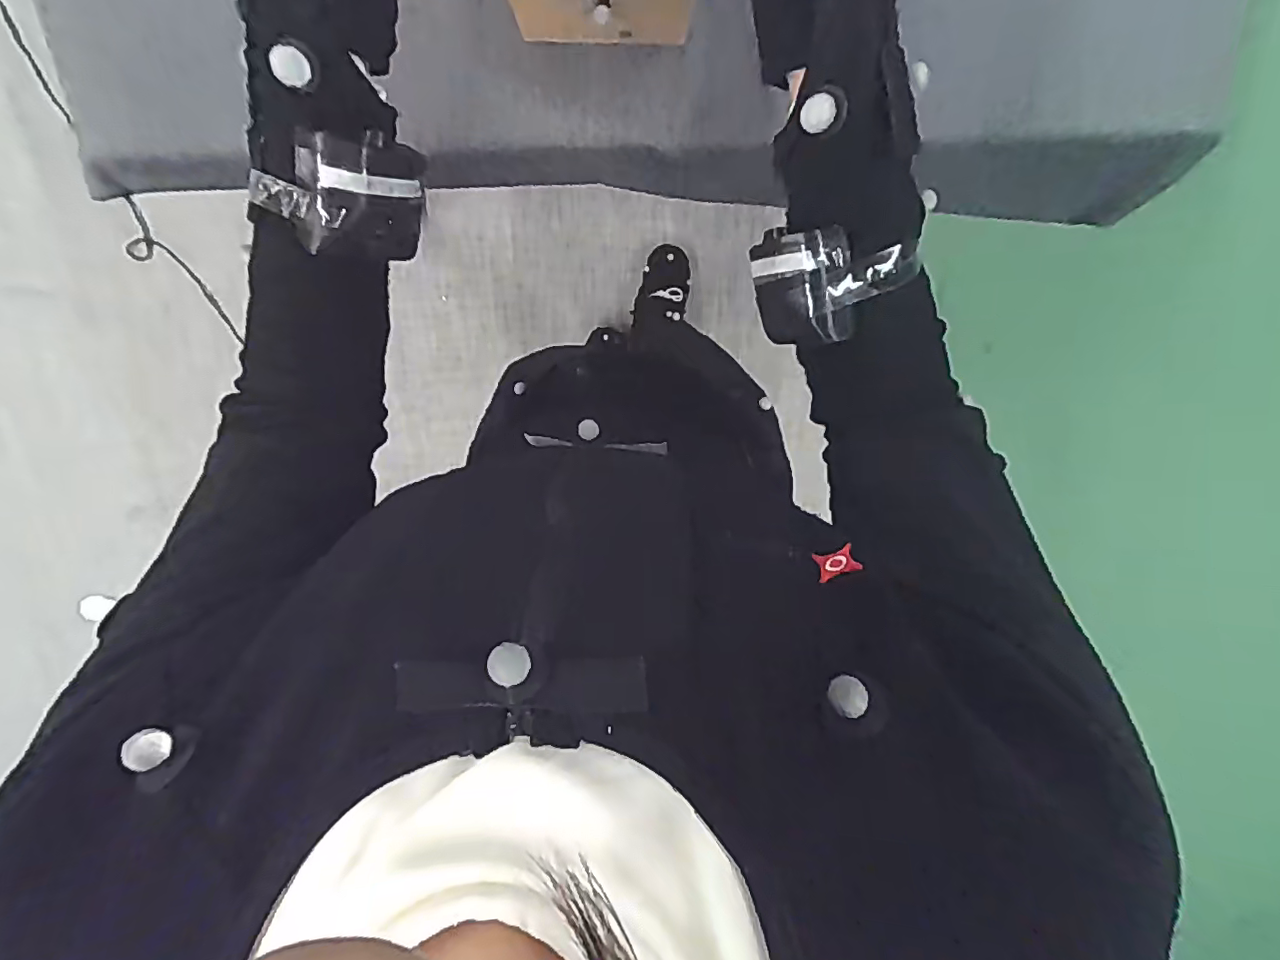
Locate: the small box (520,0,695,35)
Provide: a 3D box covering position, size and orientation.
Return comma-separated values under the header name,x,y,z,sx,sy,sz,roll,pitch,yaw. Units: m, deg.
name,x,y,z,sx,sy,sz,roll,pitch,yaw
small box,-0.031,-0.502,0.444,0.168,0.176,0.179,0,108,0
